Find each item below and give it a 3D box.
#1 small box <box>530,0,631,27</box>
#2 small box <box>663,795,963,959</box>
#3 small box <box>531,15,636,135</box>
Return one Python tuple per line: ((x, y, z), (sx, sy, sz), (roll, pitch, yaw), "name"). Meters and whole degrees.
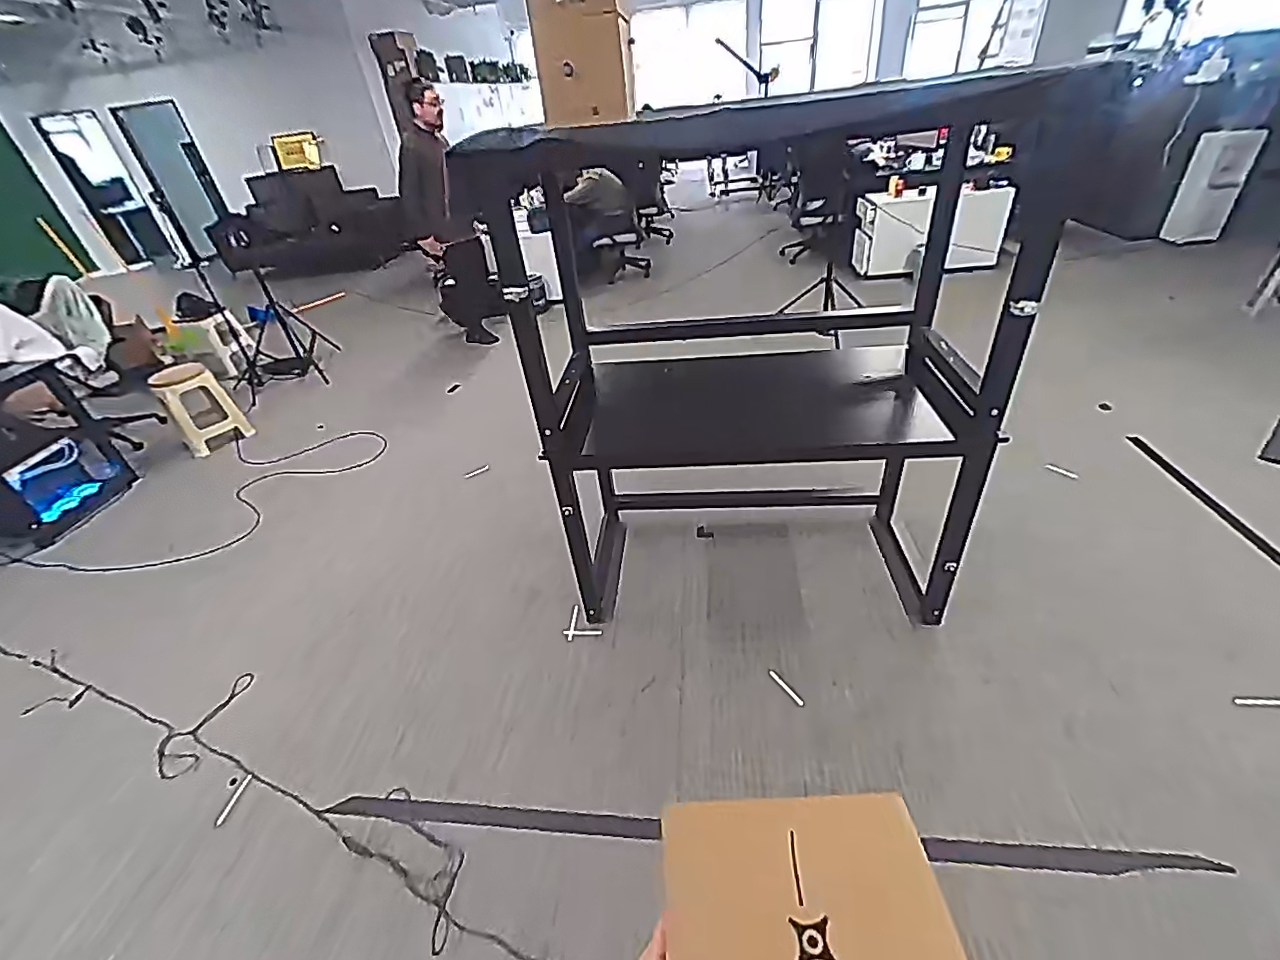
((-0.112, -0.932, 0.990), (0.168, 0.176, 0.179), (-1, 34, 9), "small box")
((0.103, 0.334, 0.344), (0.168, 0.176, 0.179), (-4, 32, 3), "small box")
((-0.102, -0.797, 1.079), (0.168, 0.176, 0.179), (-1, 34, 7), "small box")
